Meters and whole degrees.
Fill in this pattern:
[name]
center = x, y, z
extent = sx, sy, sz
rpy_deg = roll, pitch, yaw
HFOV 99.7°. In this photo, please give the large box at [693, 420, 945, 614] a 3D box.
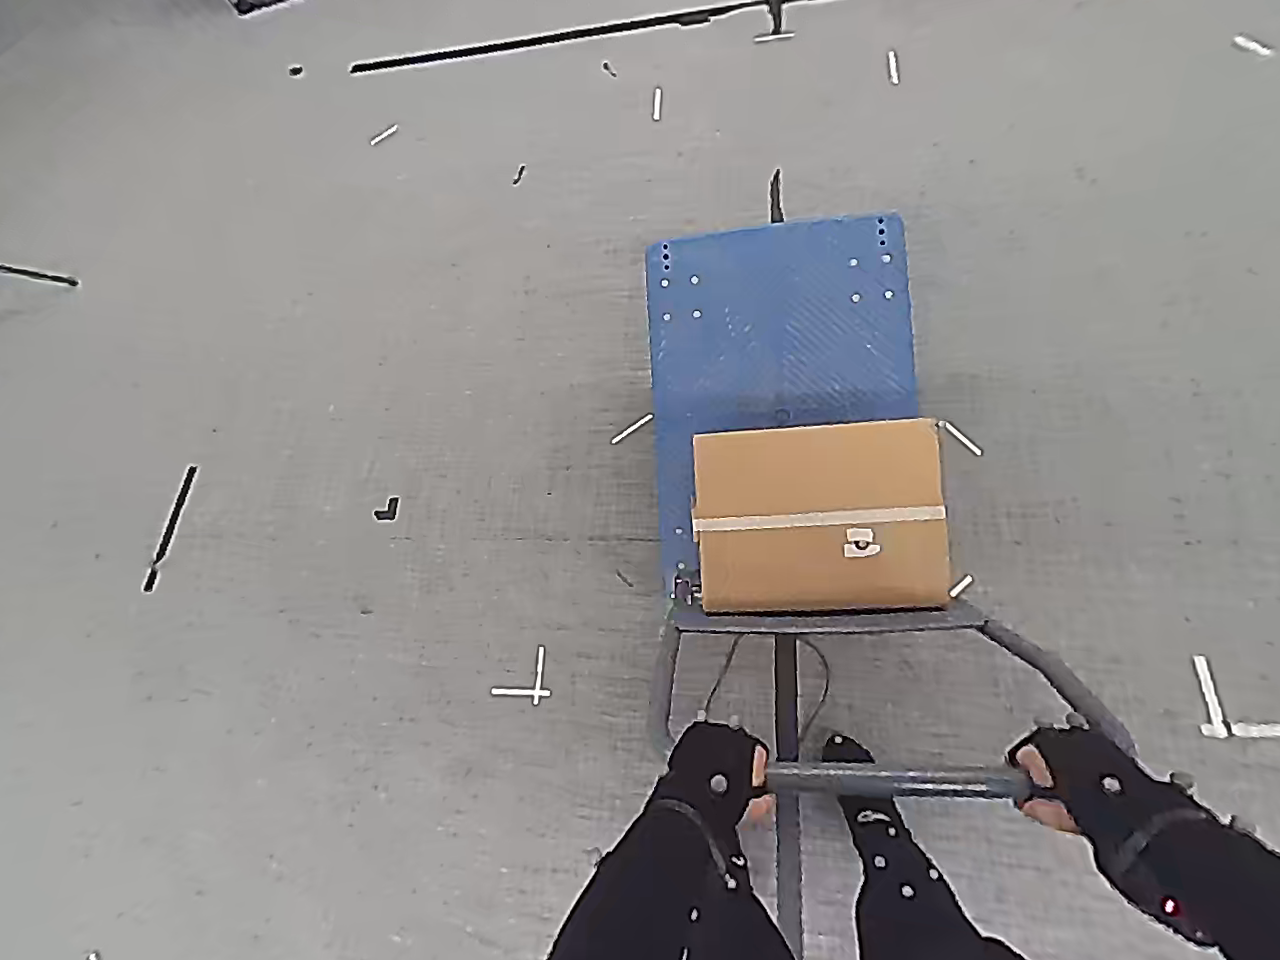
[large box]
center = 0.322, 0.072, 1.079
extent = 0.408, 0.320, 0.320
rpy_deg = -4, 89, 7
